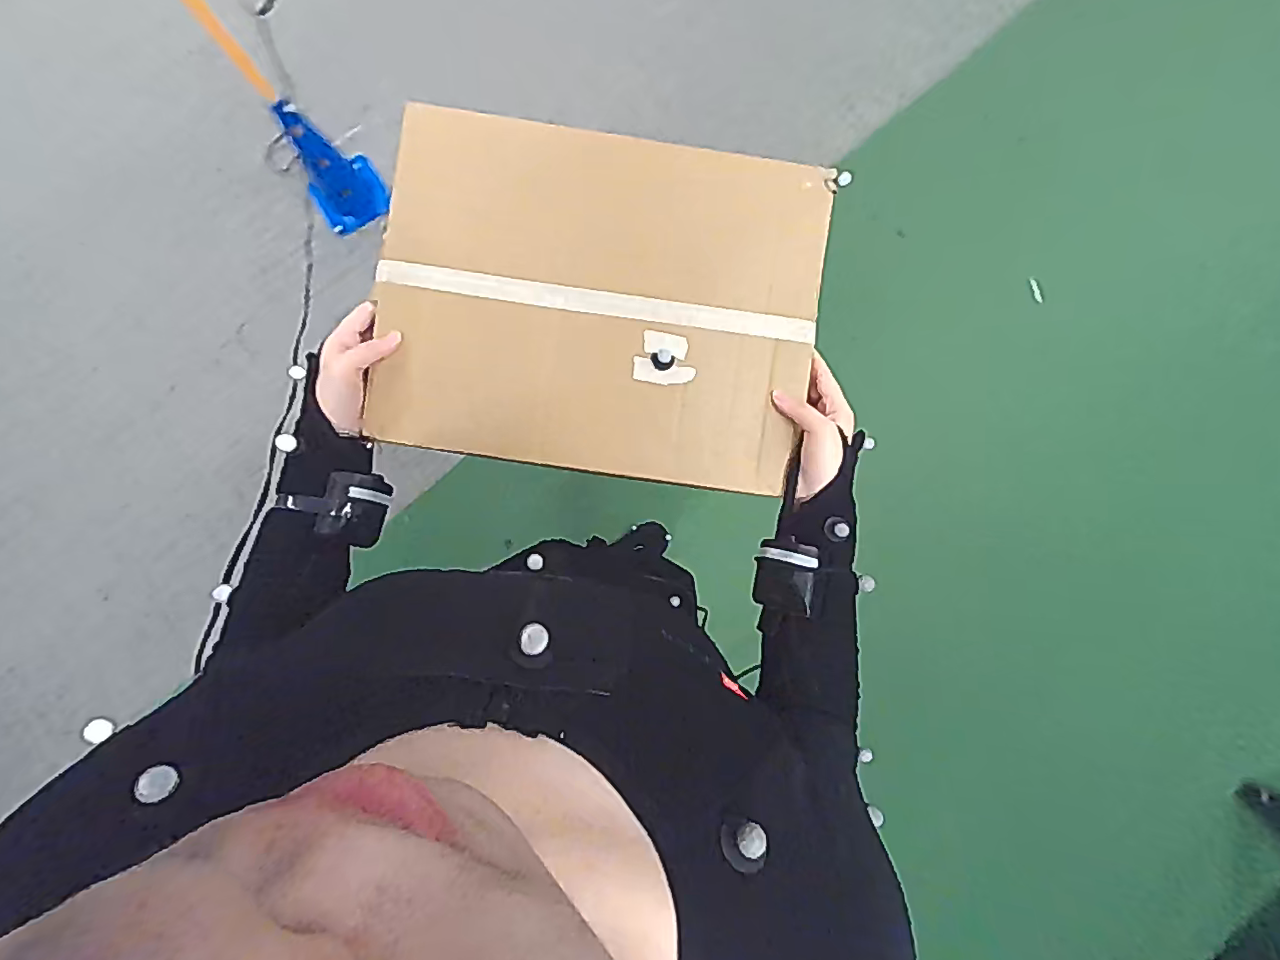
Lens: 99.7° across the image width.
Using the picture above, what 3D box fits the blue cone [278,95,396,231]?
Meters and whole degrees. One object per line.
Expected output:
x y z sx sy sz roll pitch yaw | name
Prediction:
-0.833 -0.865 1.434 0.193 0.380 0.192 -30 86 -4 | blue cone

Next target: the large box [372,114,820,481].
-0.047 -0.171 0.659 0.408 0.320 0.320 7 91 -3 | large box
